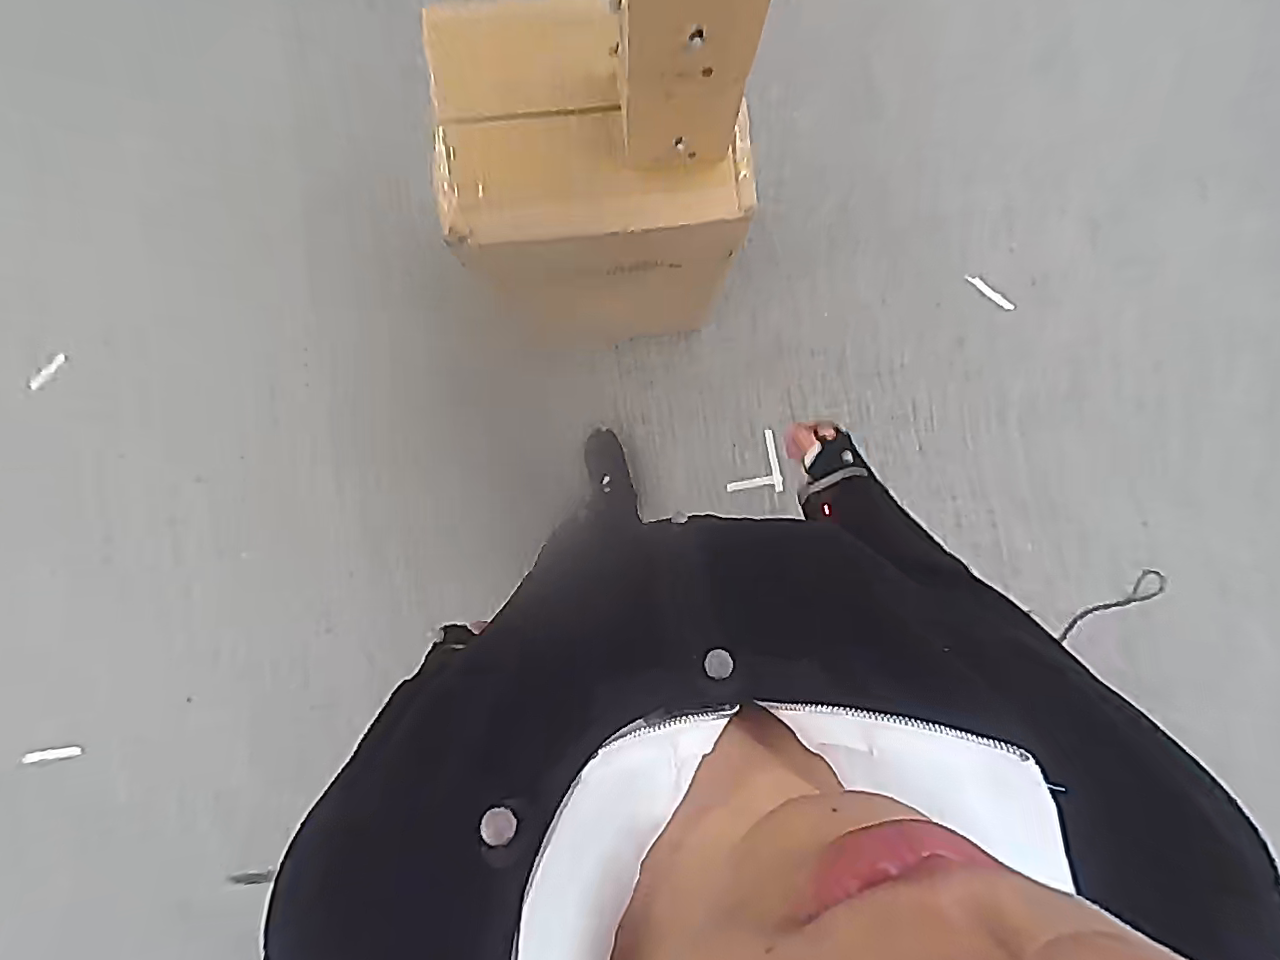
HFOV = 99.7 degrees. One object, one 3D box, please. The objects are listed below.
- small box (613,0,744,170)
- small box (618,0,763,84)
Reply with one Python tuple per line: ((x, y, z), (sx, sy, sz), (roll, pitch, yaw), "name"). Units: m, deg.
((0.049, -0.607, 0.814), (0.168, 0.176, 0.179), (-8, 89, -1), "small box")
((0.056, -0.616, 0.651), (0.168, 0.176, 0.179), (-6, 89, -1), "small box")
